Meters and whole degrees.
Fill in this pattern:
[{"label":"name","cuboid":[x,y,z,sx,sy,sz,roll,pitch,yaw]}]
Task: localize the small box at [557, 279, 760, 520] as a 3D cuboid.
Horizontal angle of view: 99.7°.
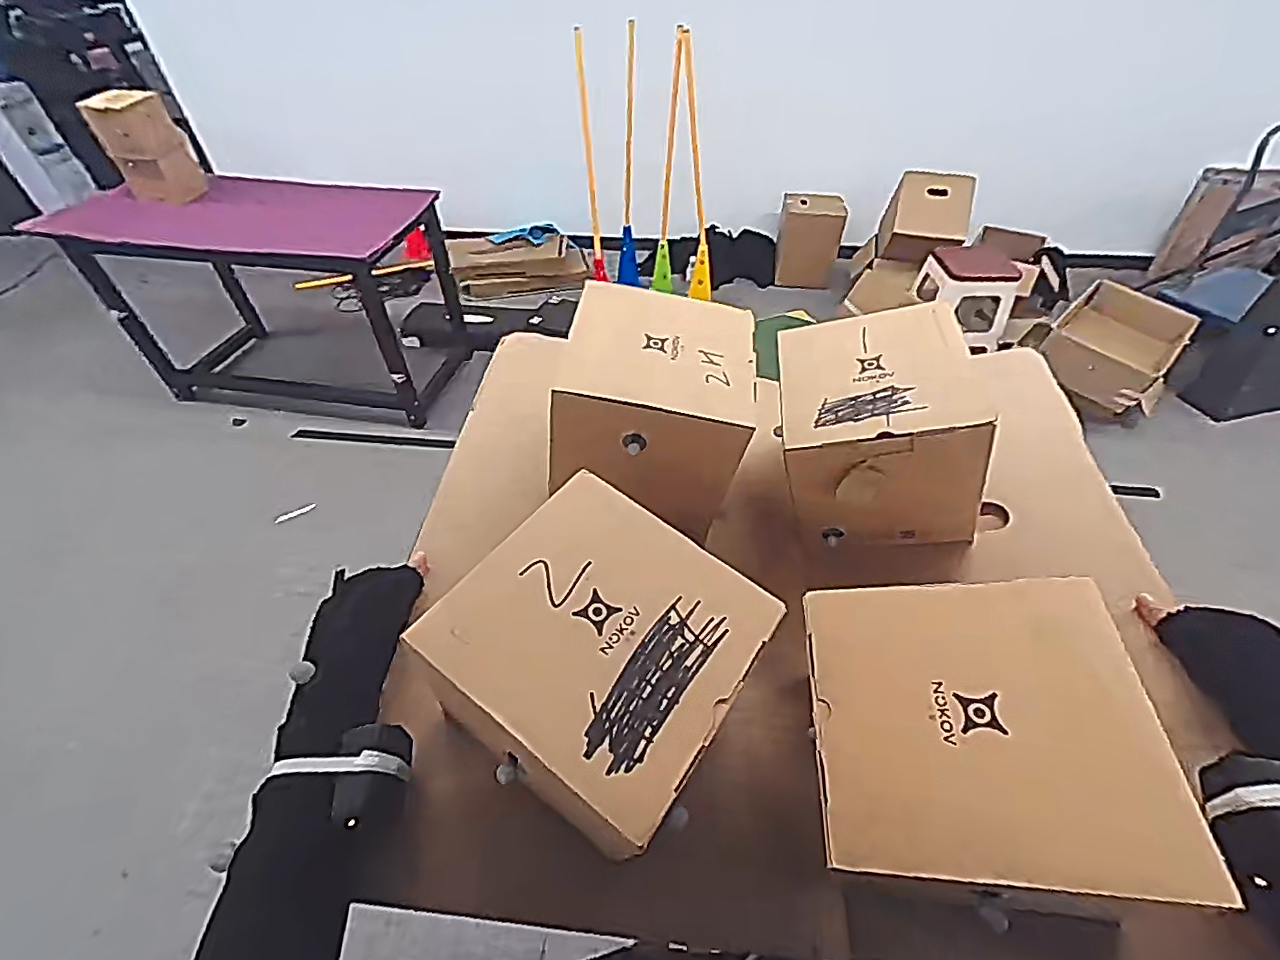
[{"label":"small box","cuboid":[0.015,-0.077,0.566,0.179,0.176,0.168,12,53,-2]}]
